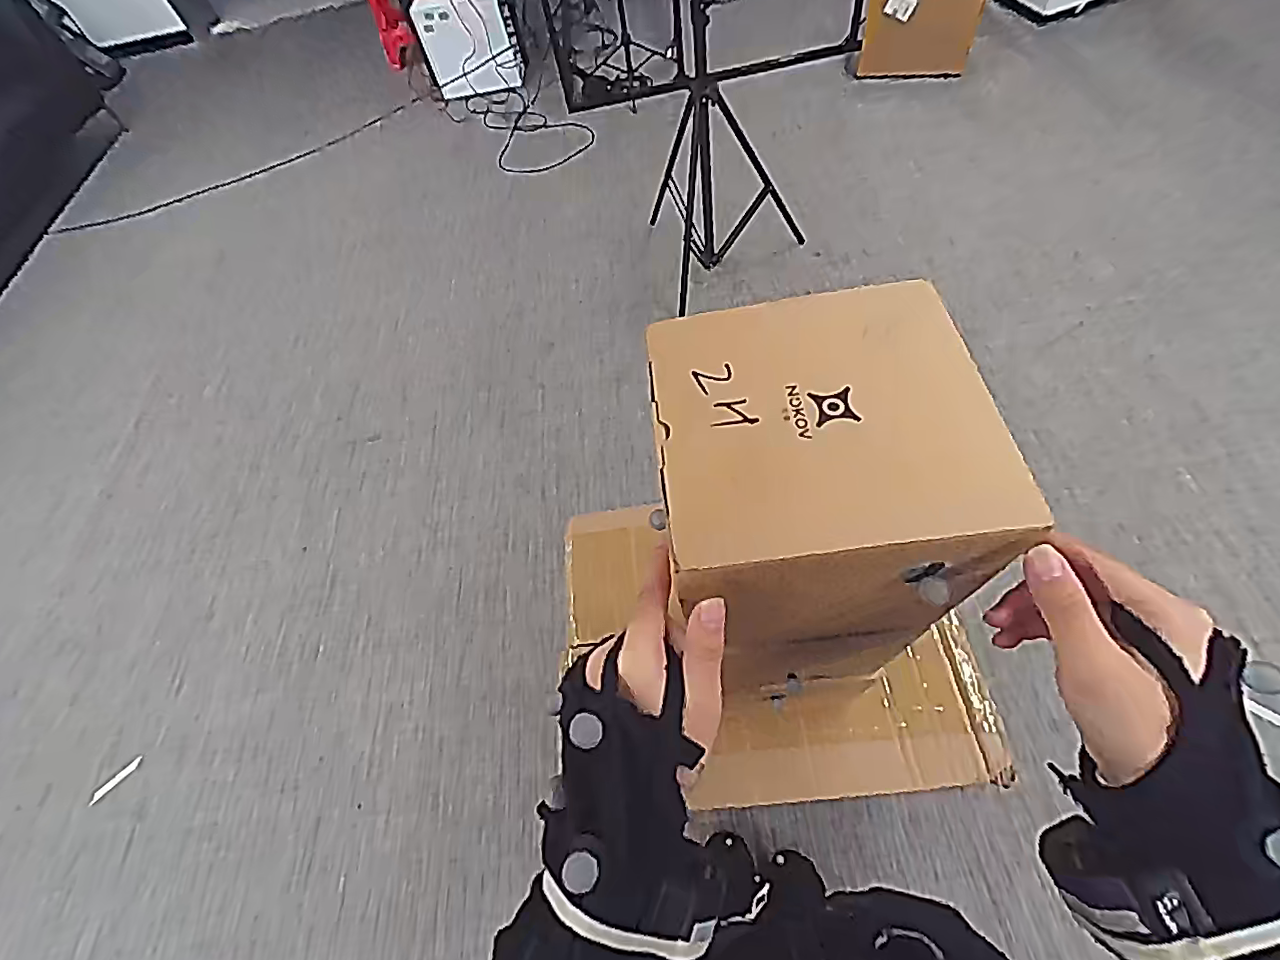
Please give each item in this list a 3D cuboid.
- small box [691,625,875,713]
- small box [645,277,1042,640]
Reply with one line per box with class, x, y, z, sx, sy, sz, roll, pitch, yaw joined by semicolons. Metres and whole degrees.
small box;0.150;0.170;0.637;0.179;0.176;0.168;-8;59;5
small box;0.104;-0.001;0.359;0.179;0.176;0.168;-8;59;5
